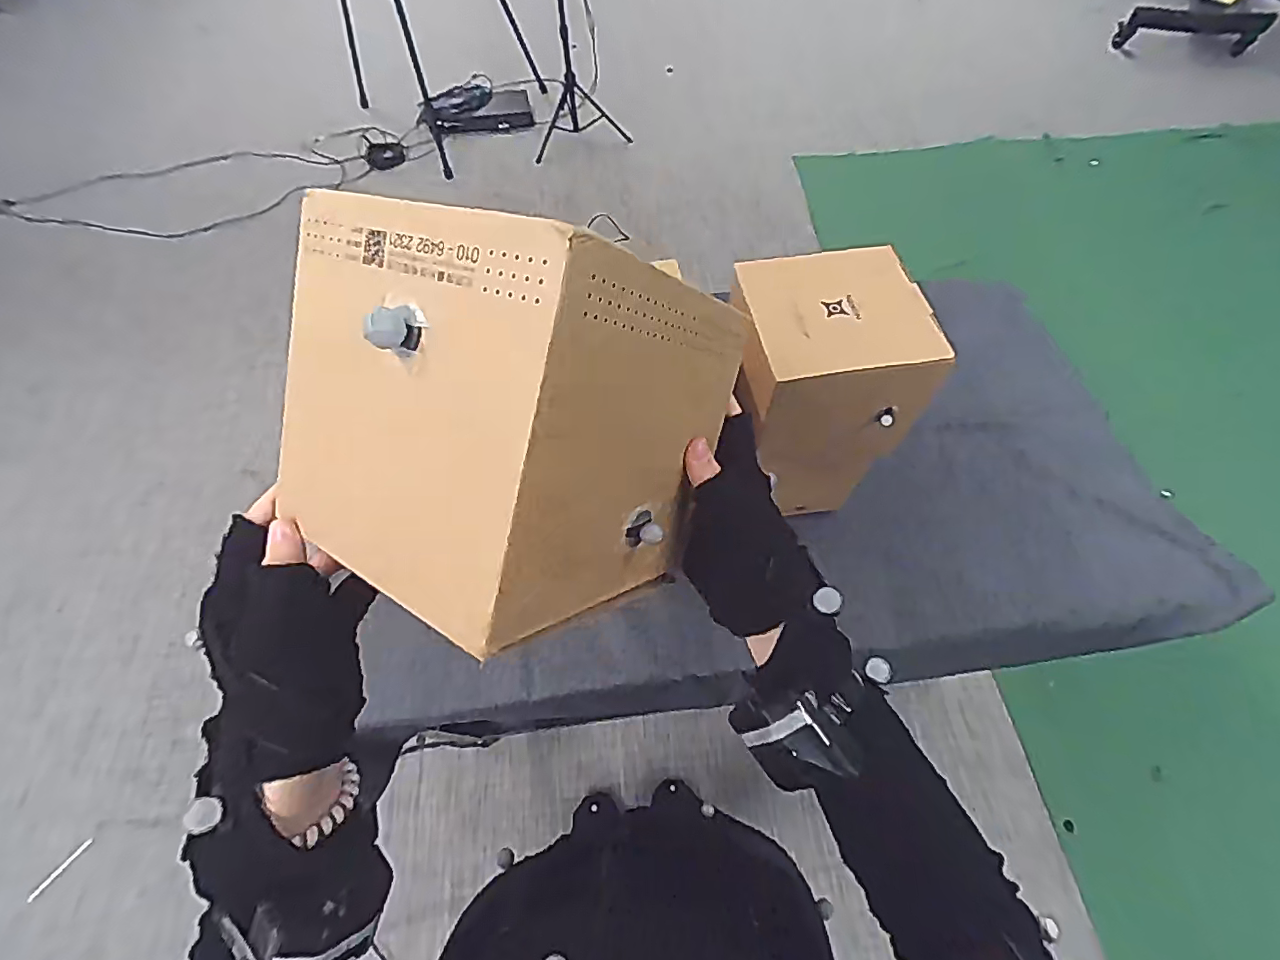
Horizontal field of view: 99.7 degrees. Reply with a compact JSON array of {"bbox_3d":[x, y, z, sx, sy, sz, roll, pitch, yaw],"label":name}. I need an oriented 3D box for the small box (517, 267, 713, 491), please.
[{"bbox_3d":[-0.026,-0.104,0.606,0.179,0.176,0.168,-11,62,-4],"label":"small box"}]
